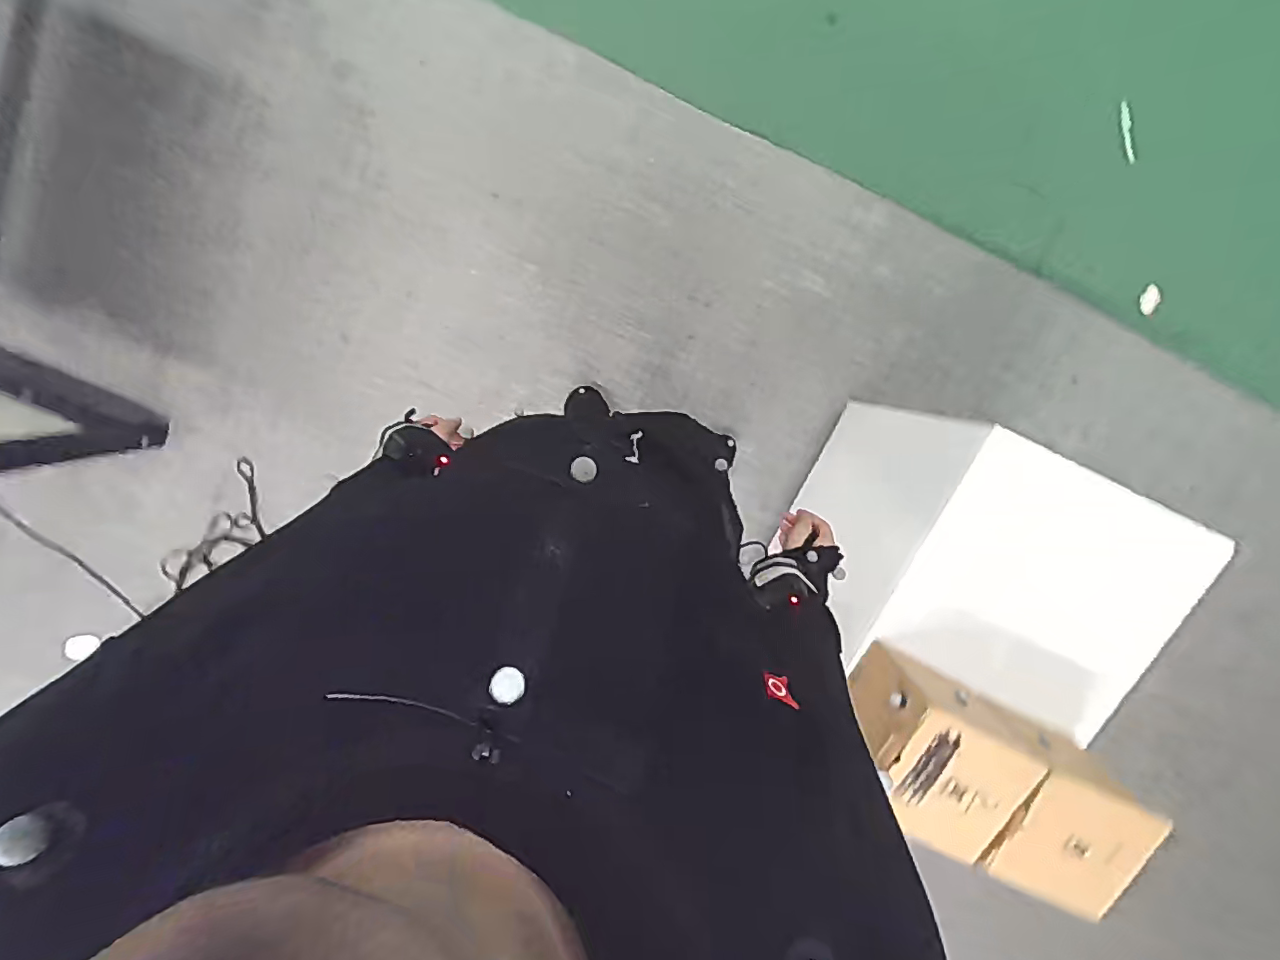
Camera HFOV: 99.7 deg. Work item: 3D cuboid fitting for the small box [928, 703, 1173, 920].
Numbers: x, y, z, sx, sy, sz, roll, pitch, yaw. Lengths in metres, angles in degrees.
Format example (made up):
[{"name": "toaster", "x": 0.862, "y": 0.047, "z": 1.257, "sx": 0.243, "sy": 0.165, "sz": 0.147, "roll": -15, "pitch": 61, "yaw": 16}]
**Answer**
[{"name": "small box", "x": 0.549, "y": 0.446, "z": 0.755, "sx": 0.179, "sy": 0.176, "sz": 0.168, "roll": 25, "pitch": 101, "yaw": -5}]
